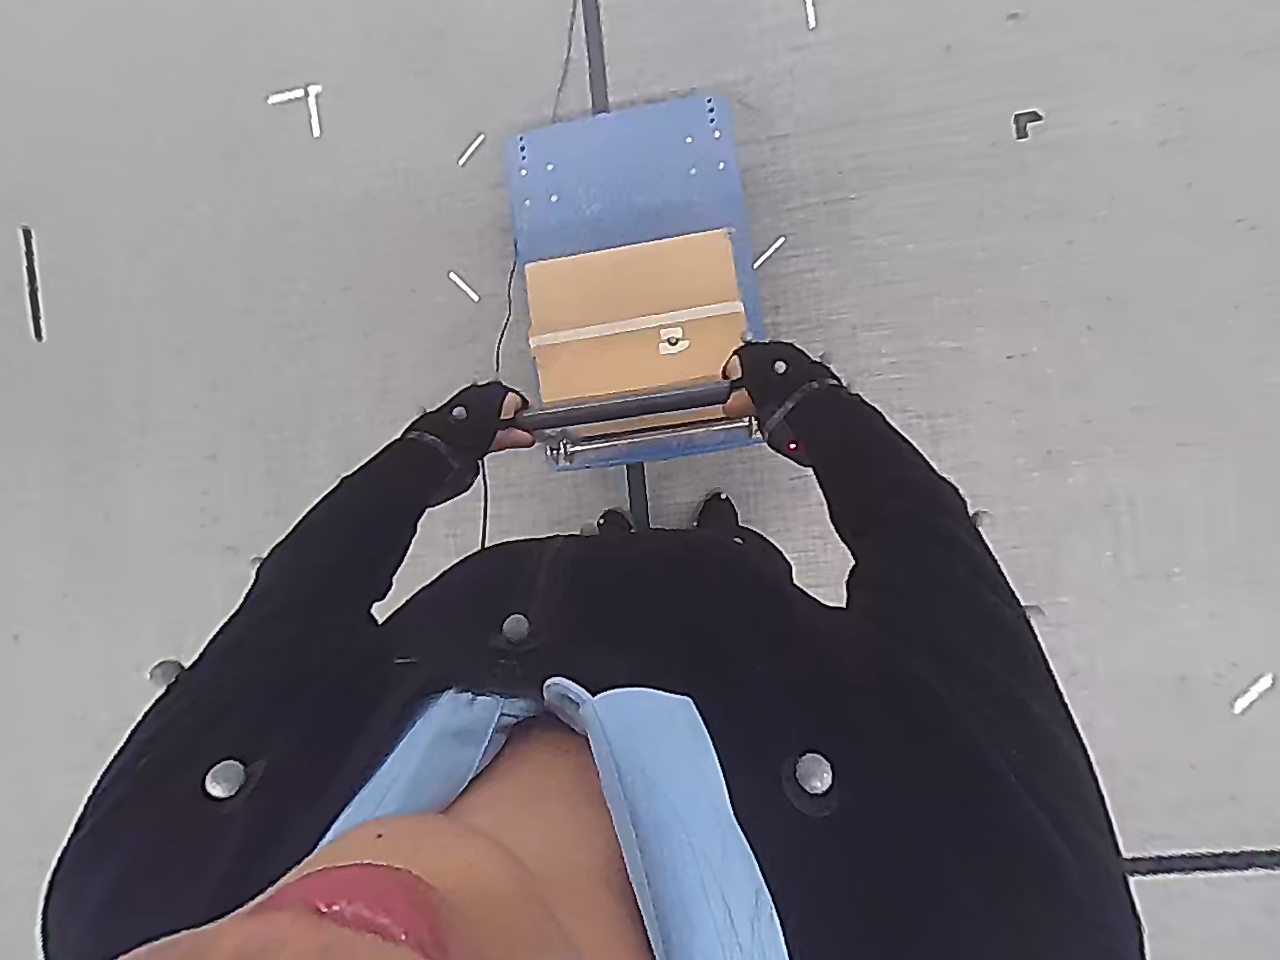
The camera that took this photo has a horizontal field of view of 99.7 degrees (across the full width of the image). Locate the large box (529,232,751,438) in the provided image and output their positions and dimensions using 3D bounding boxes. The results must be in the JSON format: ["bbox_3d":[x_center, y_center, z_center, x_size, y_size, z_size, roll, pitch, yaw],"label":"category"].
[{"bbox_3d":[0.006,-0.292,1.199,0.408,0.320,0.320,-8,87,4],"label":"large box"}]
